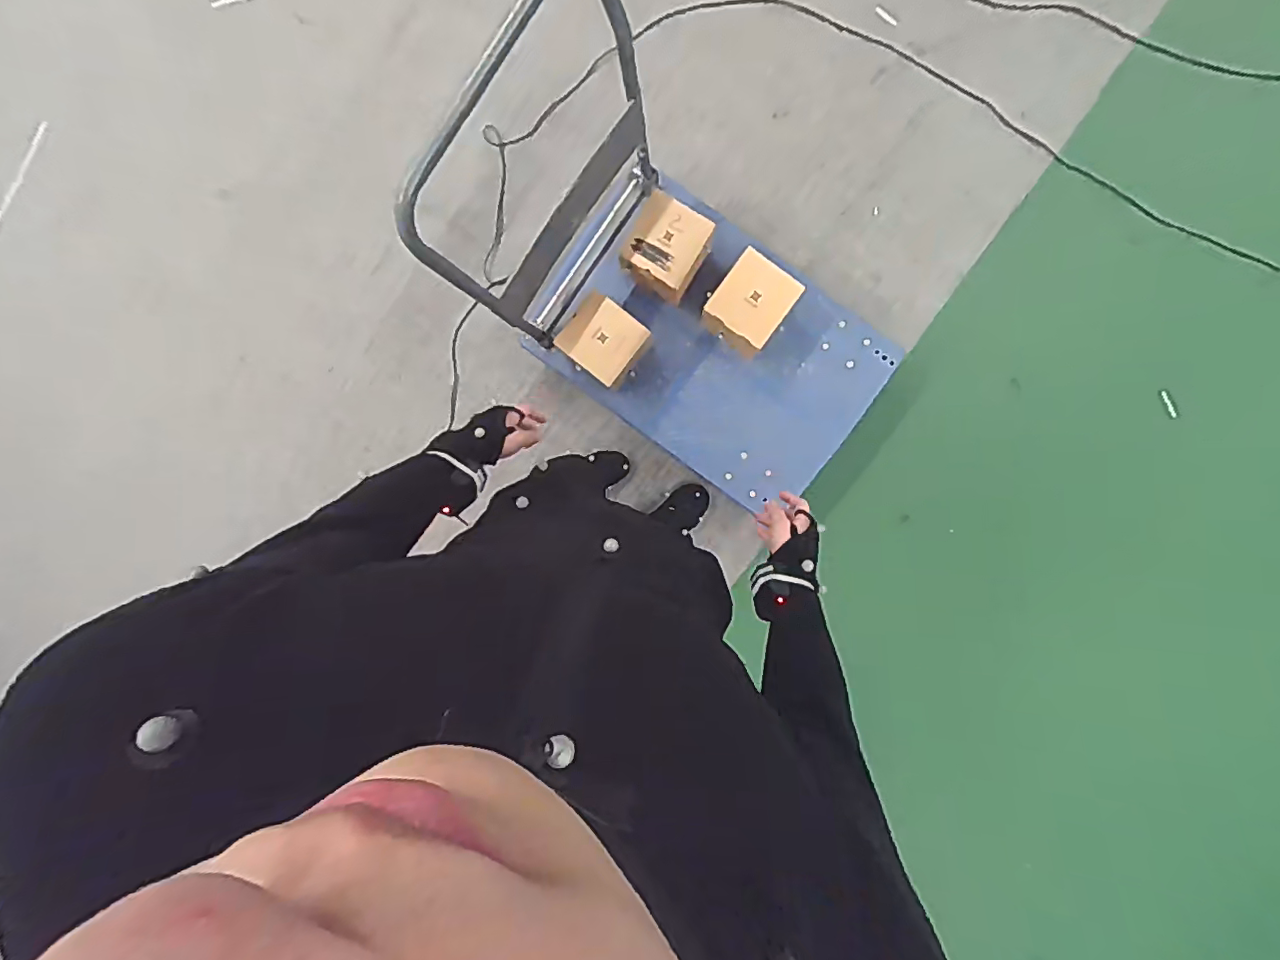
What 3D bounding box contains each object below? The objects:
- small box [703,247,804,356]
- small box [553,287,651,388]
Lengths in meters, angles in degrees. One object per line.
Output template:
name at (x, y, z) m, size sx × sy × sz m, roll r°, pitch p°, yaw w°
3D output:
small box at (0.268, -0.428, 1.330) m, size 0.168 × 0.176 × 0.179 m, roll 36°, pitch 97°, yaw -1°
small box at (-0.088, -0.344, 1.353) m, size 0.179 × 0.176 × 0.168 m, roll 39°, pitch 96°, yaw -1°
